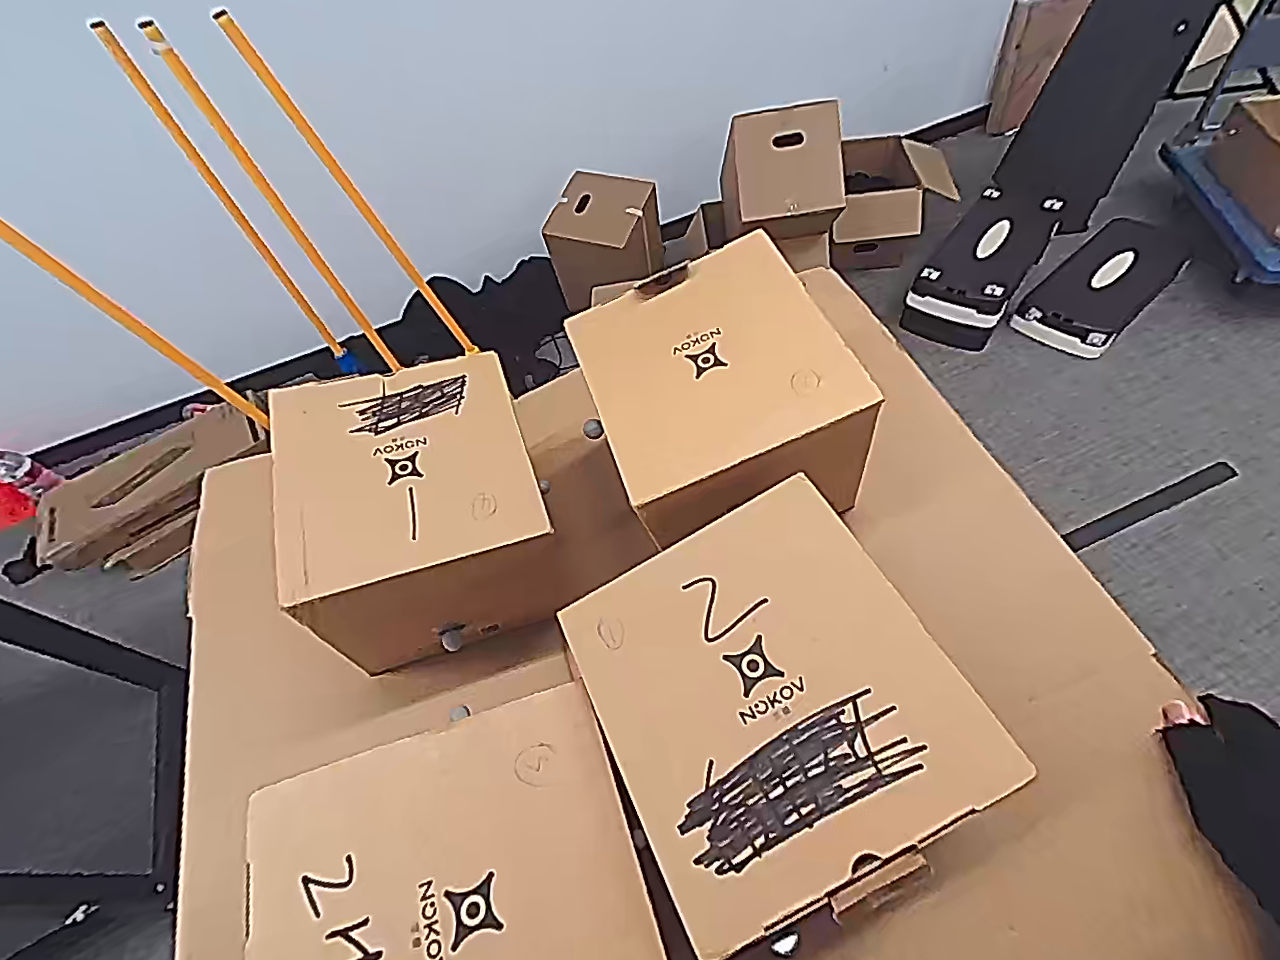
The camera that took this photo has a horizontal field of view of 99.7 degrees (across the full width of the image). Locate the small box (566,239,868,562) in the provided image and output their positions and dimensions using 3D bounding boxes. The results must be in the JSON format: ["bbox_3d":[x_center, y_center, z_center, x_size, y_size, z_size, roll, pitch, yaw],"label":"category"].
[{"bbox_3d":[0.062,-0.049,0.444,0.168,0.176,0.179,-24,59,4],"label":"small box"}]
